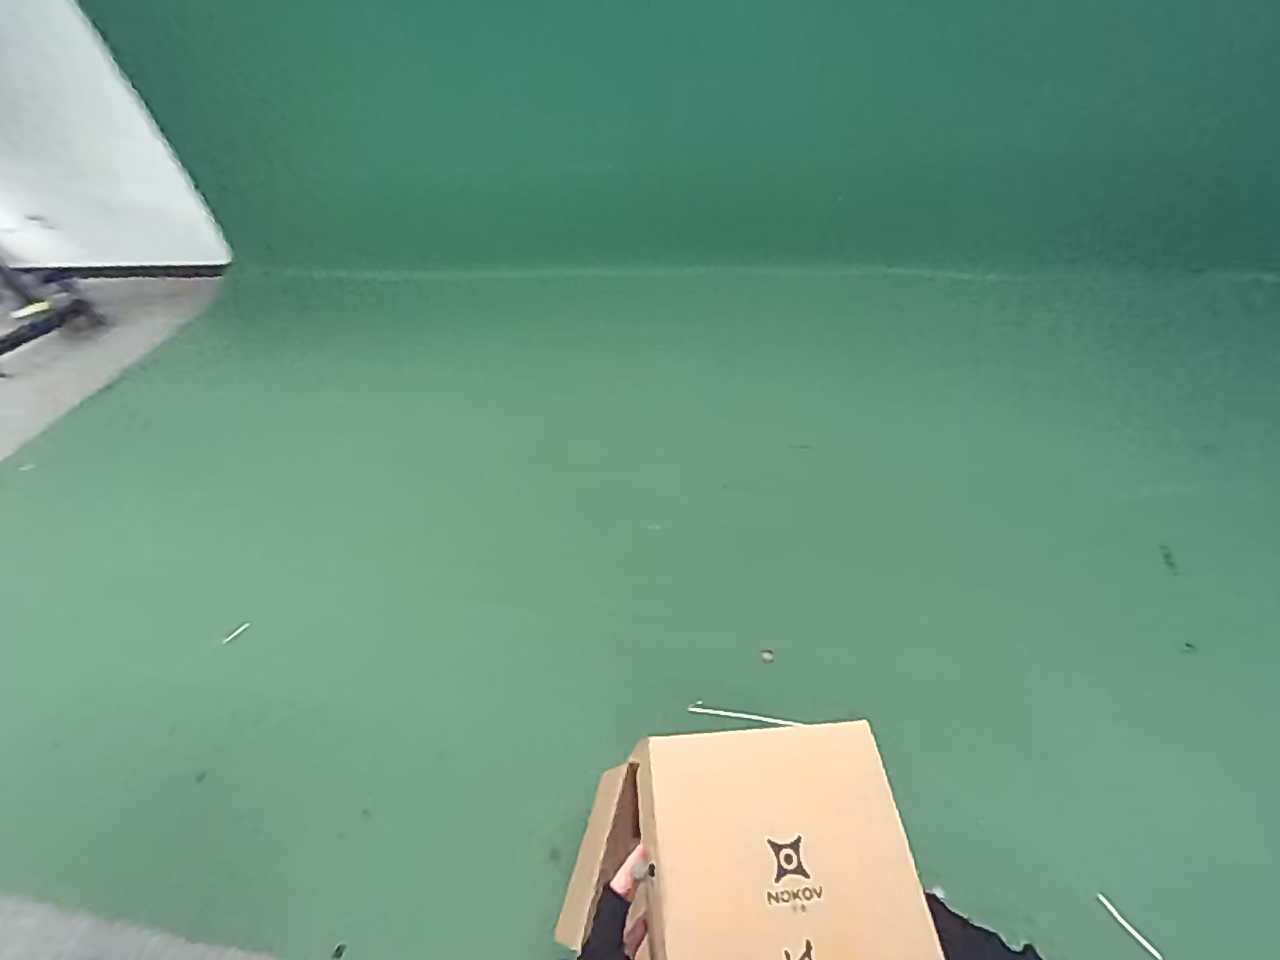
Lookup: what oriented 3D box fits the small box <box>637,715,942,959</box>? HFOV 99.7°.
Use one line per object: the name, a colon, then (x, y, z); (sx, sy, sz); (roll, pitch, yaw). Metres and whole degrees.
small box: (0.088, 0.294, 0.404); (0.168, 0.176, 0.179); (-3, 53, -5)
